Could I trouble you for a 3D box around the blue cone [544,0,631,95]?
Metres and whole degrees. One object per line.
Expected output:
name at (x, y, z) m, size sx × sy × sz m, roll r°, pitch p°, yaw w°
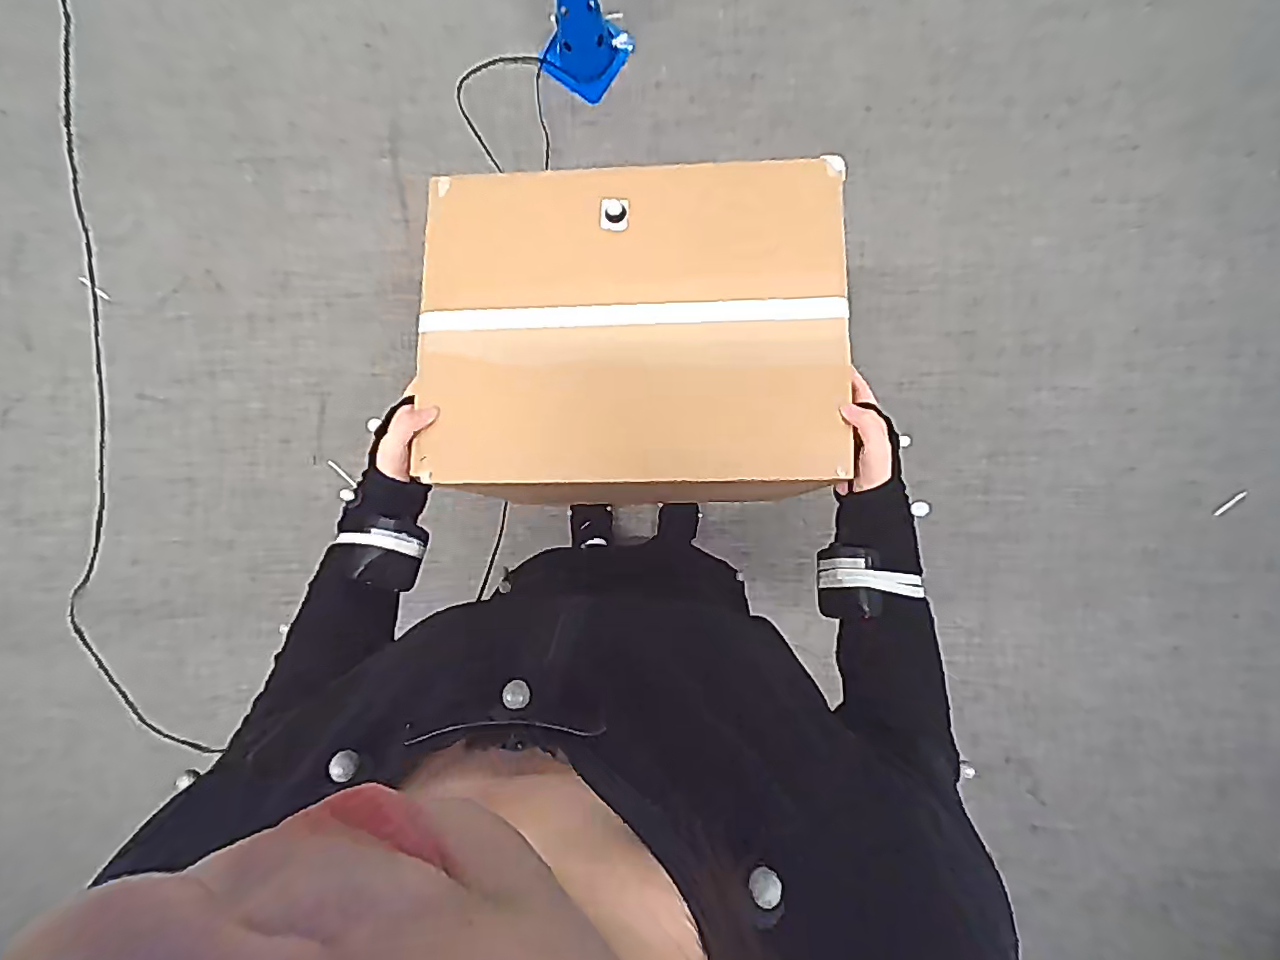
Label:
blue cone at (-0.141, -1.115, 1.238) m, size 0.192 × 0.380 × 0.193 m, roll 32°, pitch 93°, yaw -1°
